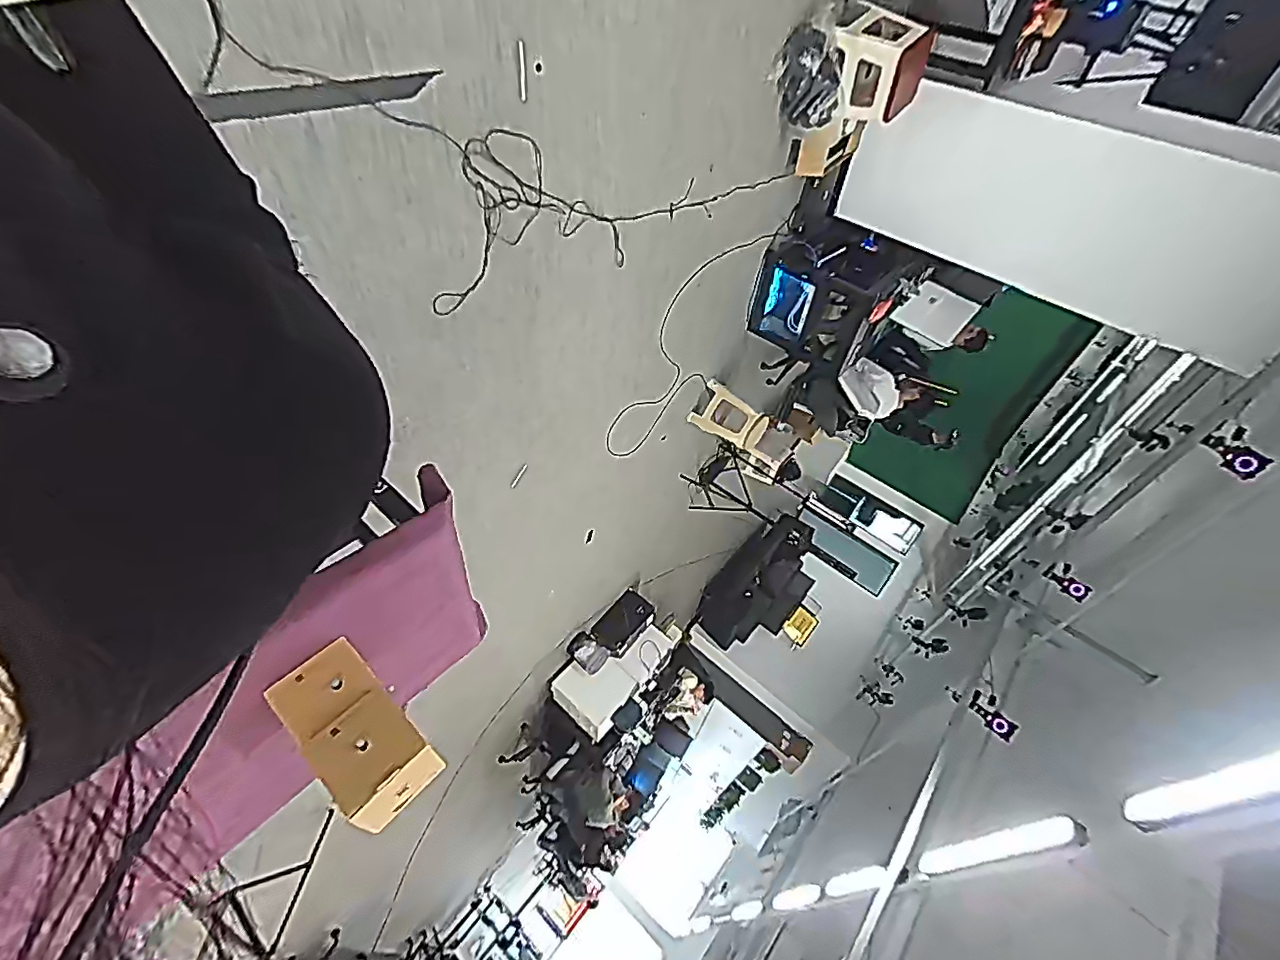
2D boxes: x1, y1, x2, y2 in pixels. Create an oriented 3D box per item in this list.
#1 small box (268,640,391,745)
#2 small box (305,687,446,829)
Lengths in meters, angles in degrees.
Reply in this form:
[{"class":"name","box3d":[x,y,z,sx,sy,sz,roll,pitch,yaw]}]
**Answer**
[{"class":"small box","box3d":[-0.645,0.472,1.153,0.168,0.176,0.179,-39,153,-33]},{"class":"small box","box3d":[-0.520,0.544,1.071,0.168,0.176,0.179,-40,153,-31]}]
